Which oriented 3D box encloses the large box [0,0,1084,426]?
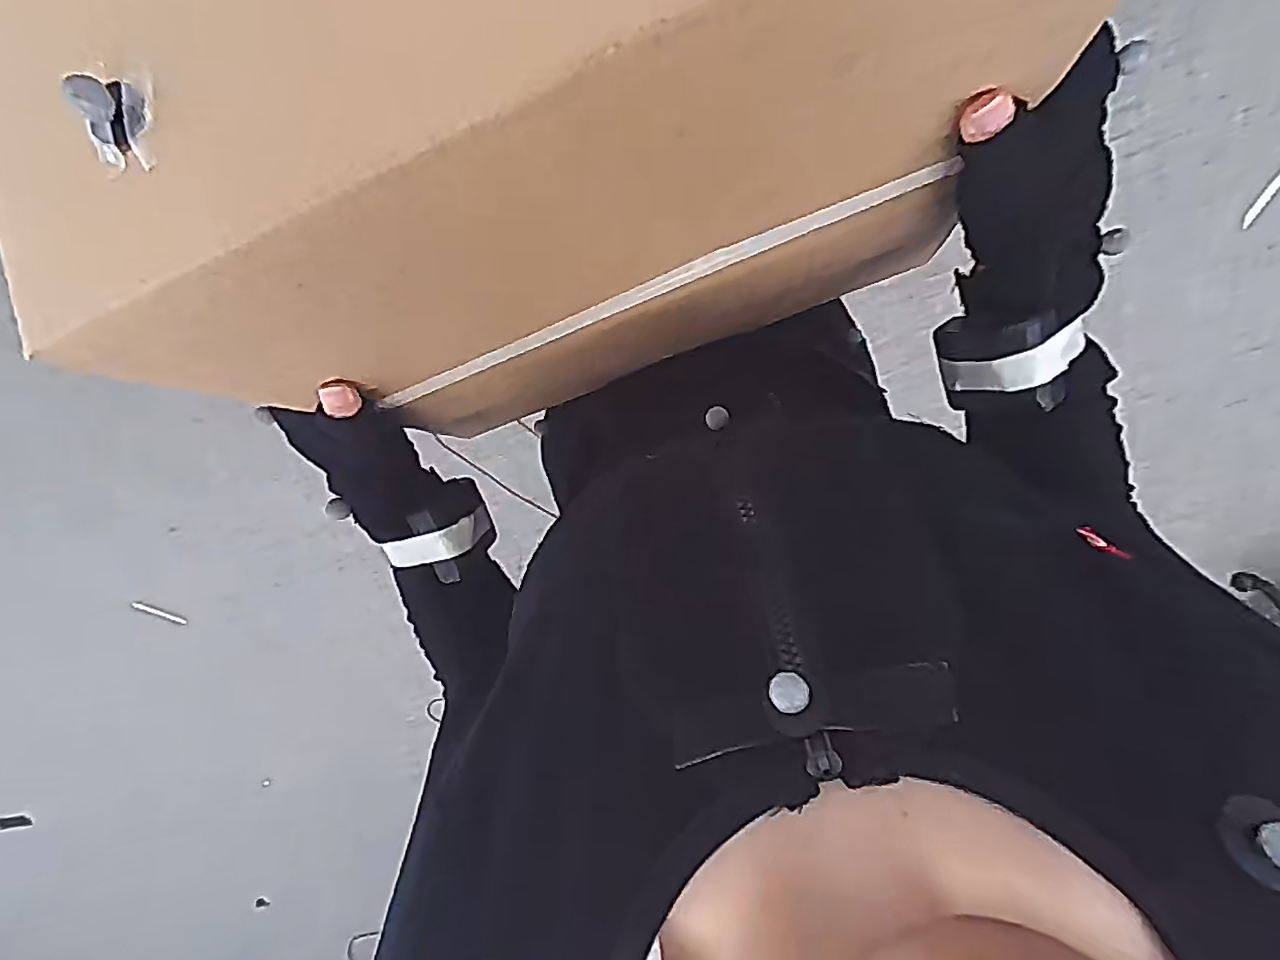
[{"bbox_3d":[-0.052,-0.259,0.321,0.408,0.320,0.320,-19,86,11],"label":"large box"}]
